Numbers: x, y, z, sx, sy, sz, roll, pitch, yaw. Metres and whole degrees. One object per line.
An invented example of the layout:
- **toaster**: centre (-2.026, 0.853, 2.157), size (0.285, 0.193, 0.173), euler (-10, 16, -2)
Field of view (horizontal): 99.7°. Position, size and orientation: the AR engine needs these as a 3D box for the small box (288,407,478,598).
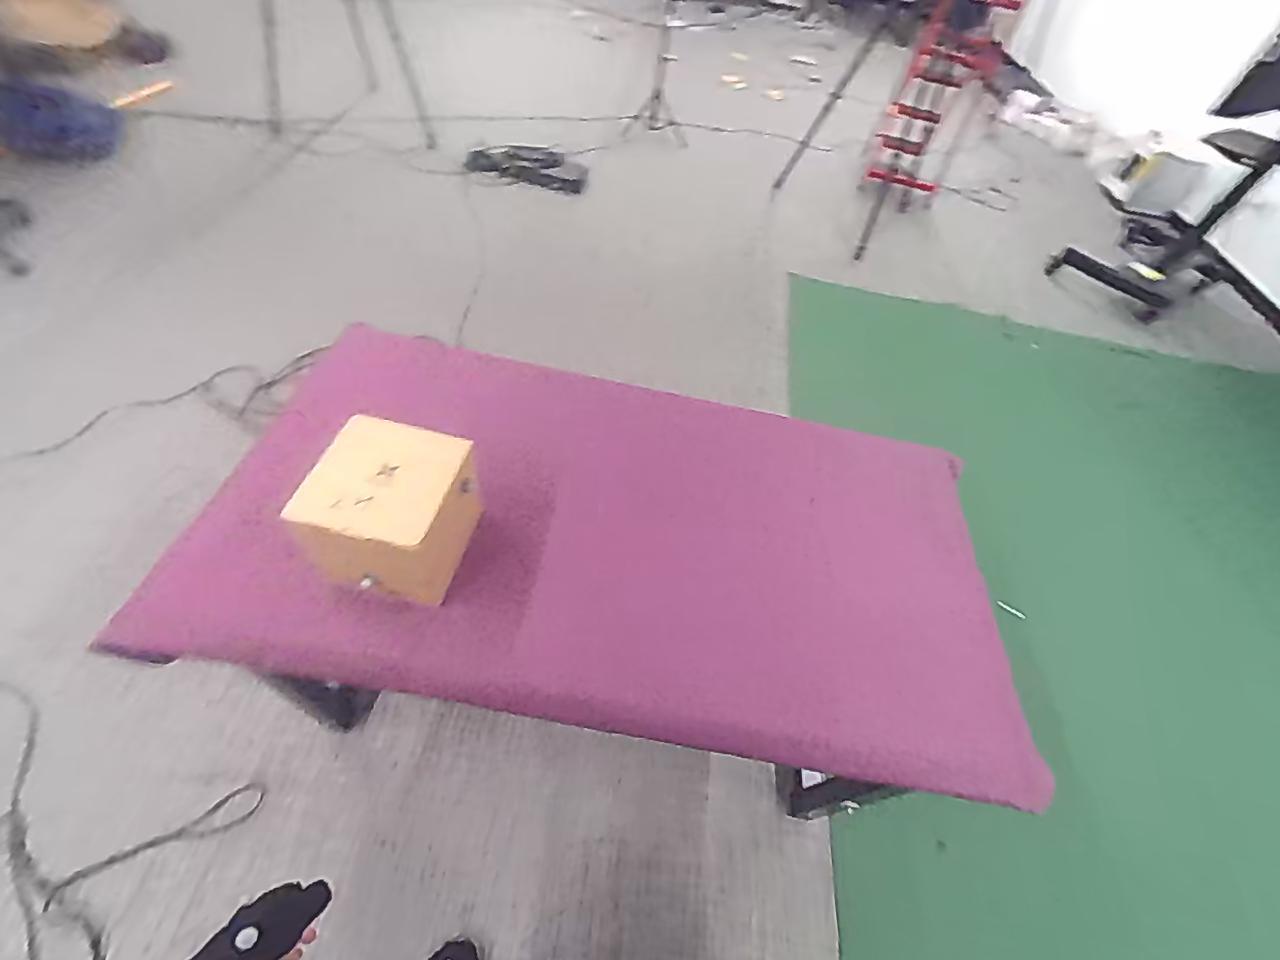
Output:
- **small box**: centre (-0.332, 0.035, 0.744), size (0.168, 0.176, 0.179), euler (15, 53, -1)
